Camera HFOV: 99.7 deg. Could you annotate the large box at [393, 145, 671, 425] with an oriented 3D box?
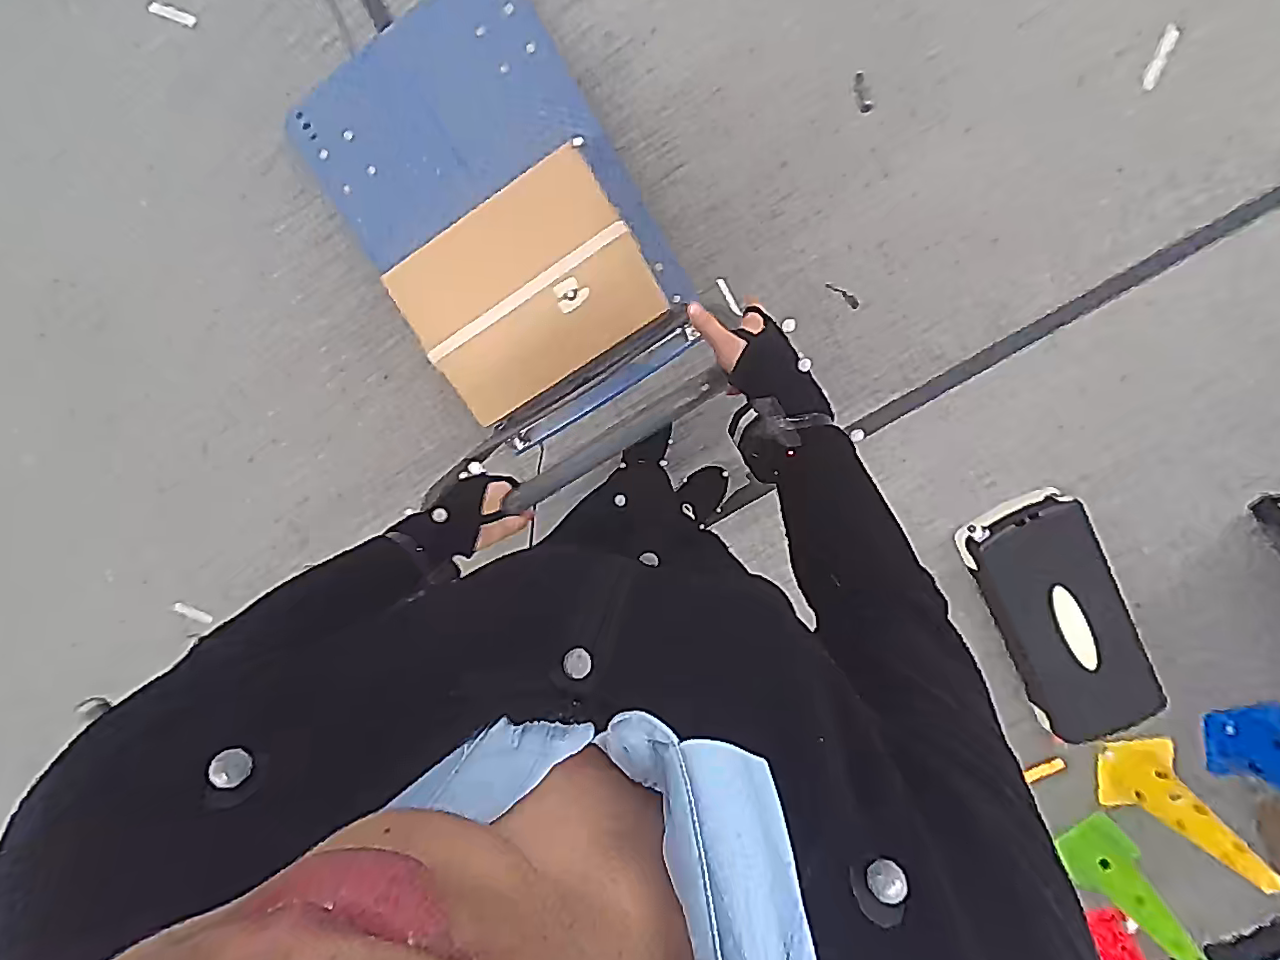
[{"bbox_3d":[-0.188,-0.359,1.089,0.408,0.320,0.320,-31,102,8],"label":"large box"}]
